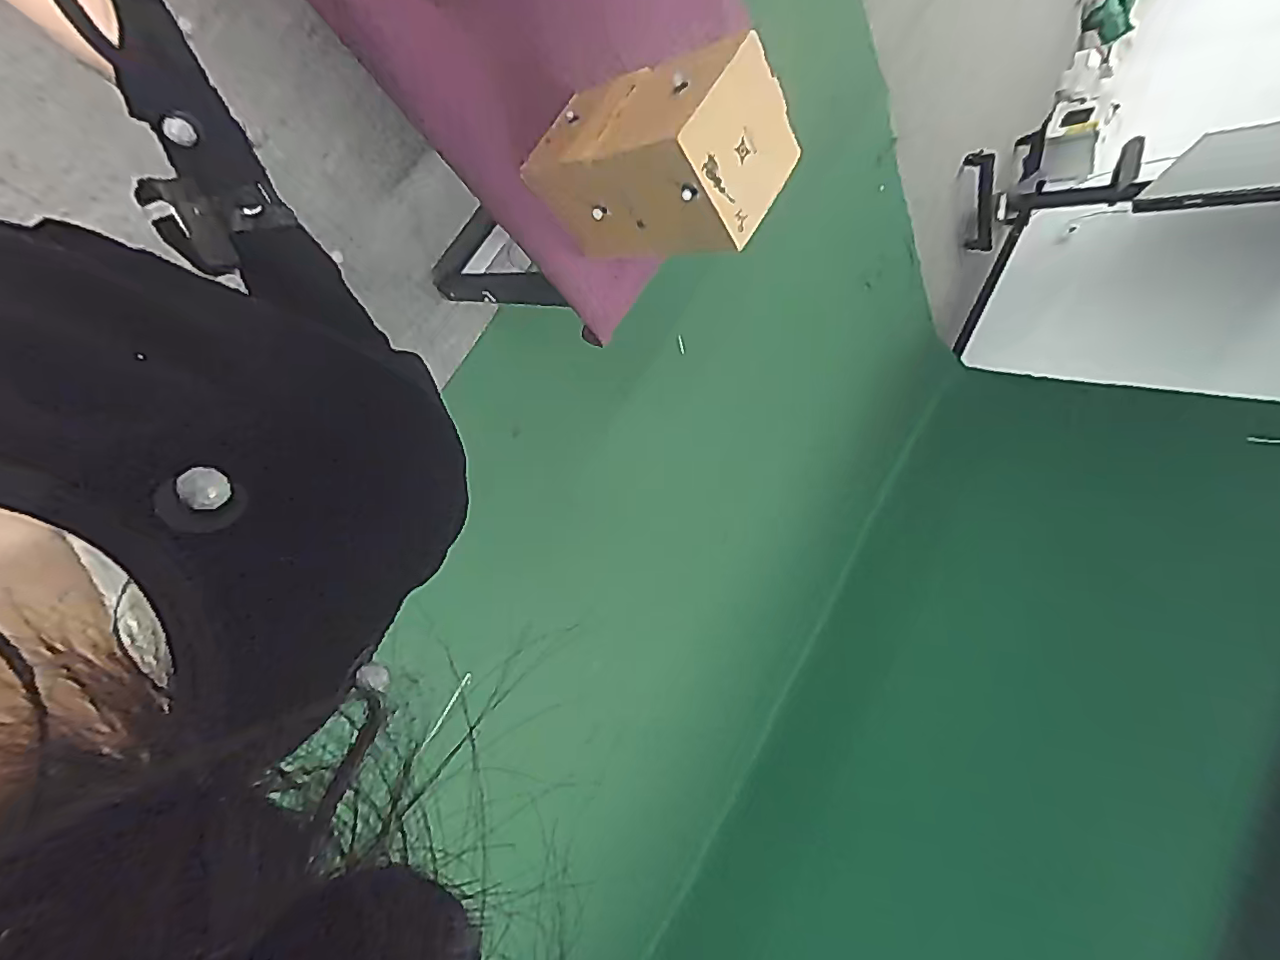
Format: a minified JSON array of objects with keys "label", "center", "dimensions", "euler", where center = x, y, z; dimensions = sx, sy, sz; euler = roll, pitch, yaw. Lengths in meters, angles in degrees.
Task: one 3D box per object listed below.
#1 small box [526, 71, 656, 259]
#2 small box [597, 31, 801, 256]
[{"label":"small box","center":[-0.035,-0.462,0.821],"dimensions":[0.179,0.176,0.168],"euler":[40,78,-42]},{"label":"small box","center":[0.075,-0.420,0.707],"dimensions":[0.168,0.176,0.179],"euler":[40,77,-42]}]
